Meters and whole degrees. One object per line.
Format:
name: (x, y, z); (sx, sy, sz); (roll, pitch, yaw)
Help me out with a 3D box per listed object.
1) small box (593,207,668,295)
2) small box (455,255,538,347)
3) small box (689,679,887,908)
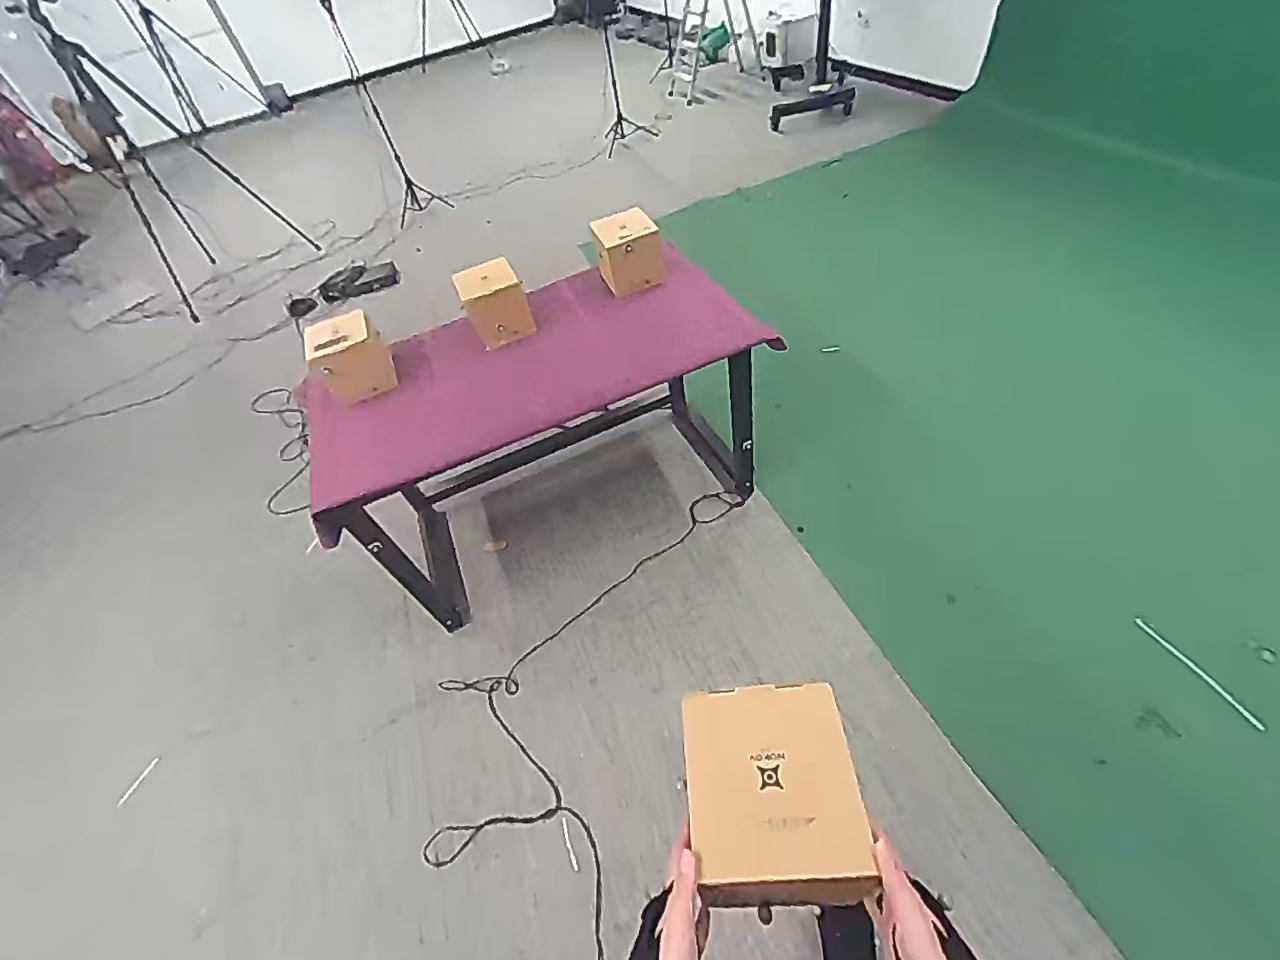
small box: (-0.027, -0.691, 1.637); (0.168, 0.176, 0.179); (-22, 50, -5)
small box: (-0.417, -0.520, 1.578); (0.168, 0.176, 0.179); (-24, 51, -9)
small box: (0.142, 0.339, 0.585); (0.168, 0.176, 0.179); (-6, 45, 5)
